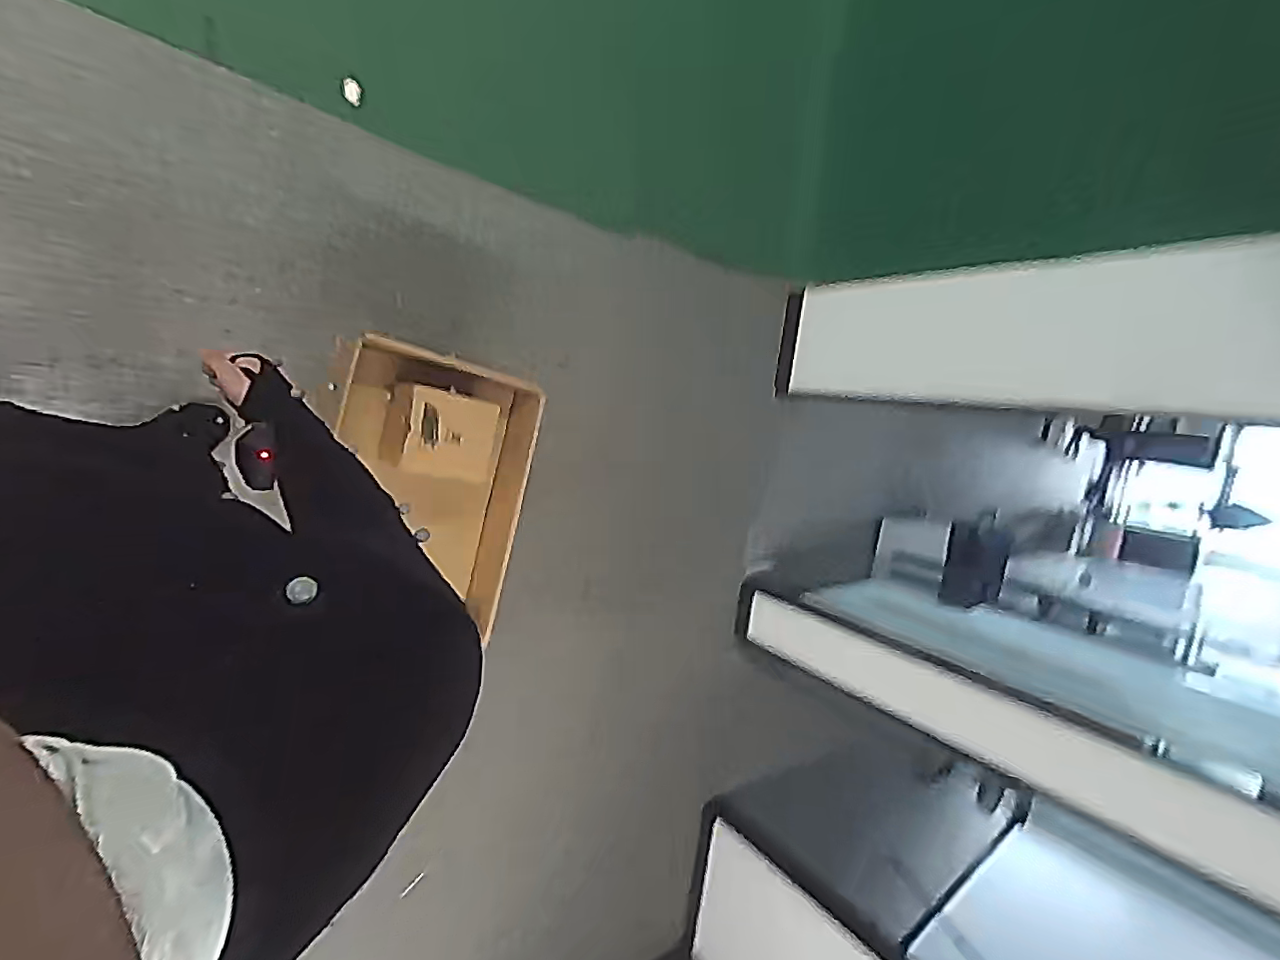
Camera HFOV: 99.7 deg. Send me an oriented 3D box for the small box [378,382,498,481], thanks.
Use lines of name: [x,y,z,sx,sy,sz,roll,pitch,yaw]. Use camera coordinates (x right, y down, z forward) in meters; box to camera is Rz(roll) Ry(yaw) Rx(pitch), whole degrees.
small box: [-0.427,-0.103,1.132,0.179,0.176,0.168,12,93,-40]
